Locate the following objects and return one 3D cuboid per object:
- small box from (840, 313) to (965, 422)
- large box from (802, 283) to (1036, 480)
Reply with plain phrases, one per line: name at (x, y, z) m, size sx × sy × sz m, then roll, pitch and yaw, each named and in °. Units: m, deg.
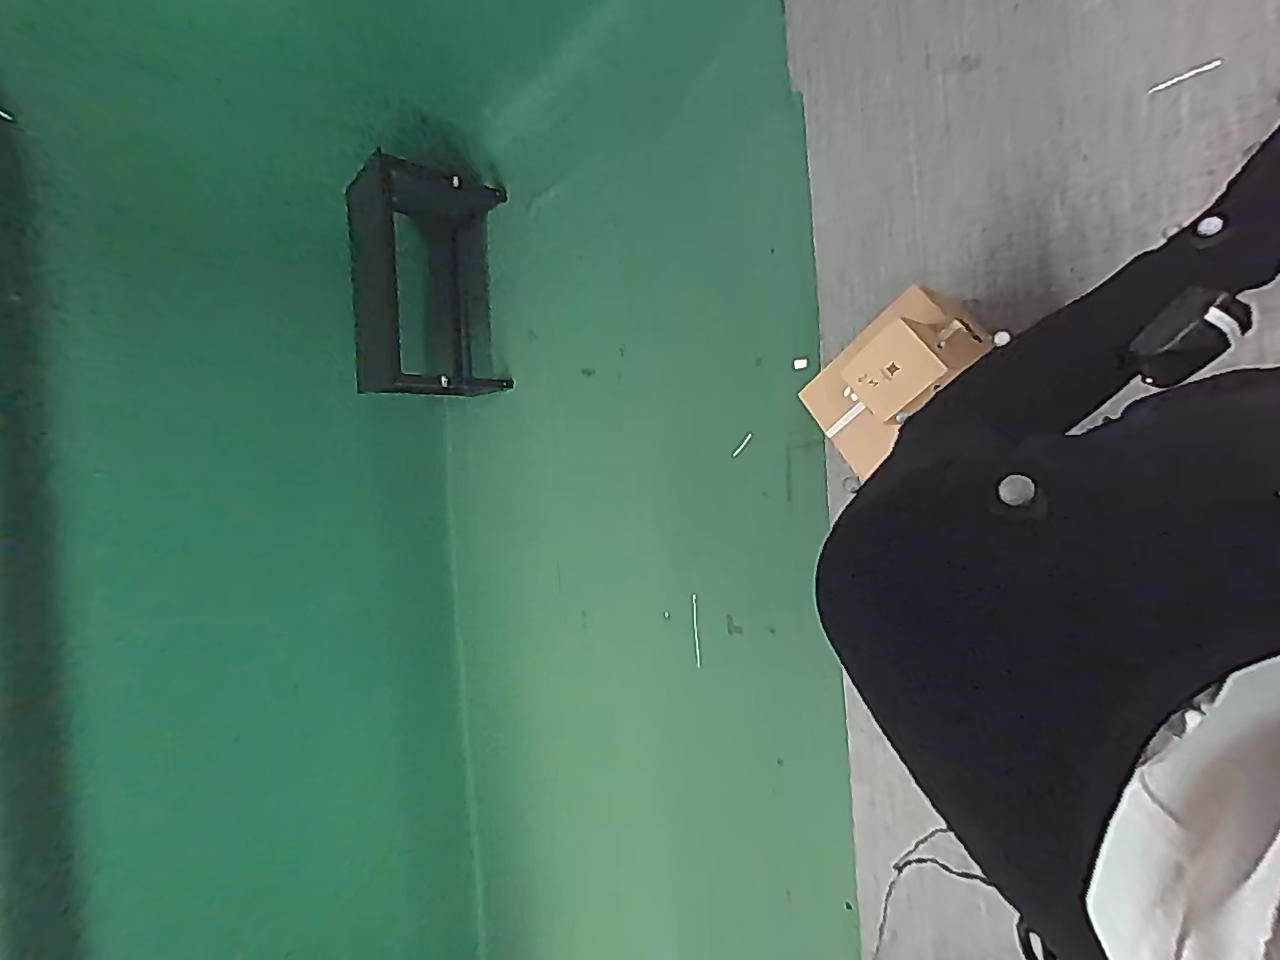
small box at (0.602, -0.250, 1.229) m, size 0.179 × 0.176 × 0.168 m, roll -49°, pitch 59°, yaw 39°
large box at (0.734, -0.248, 1.453) m, size 0.408 × 0.320 × 0.320 m, roll -49°, pitch 57°, yaw 39°
